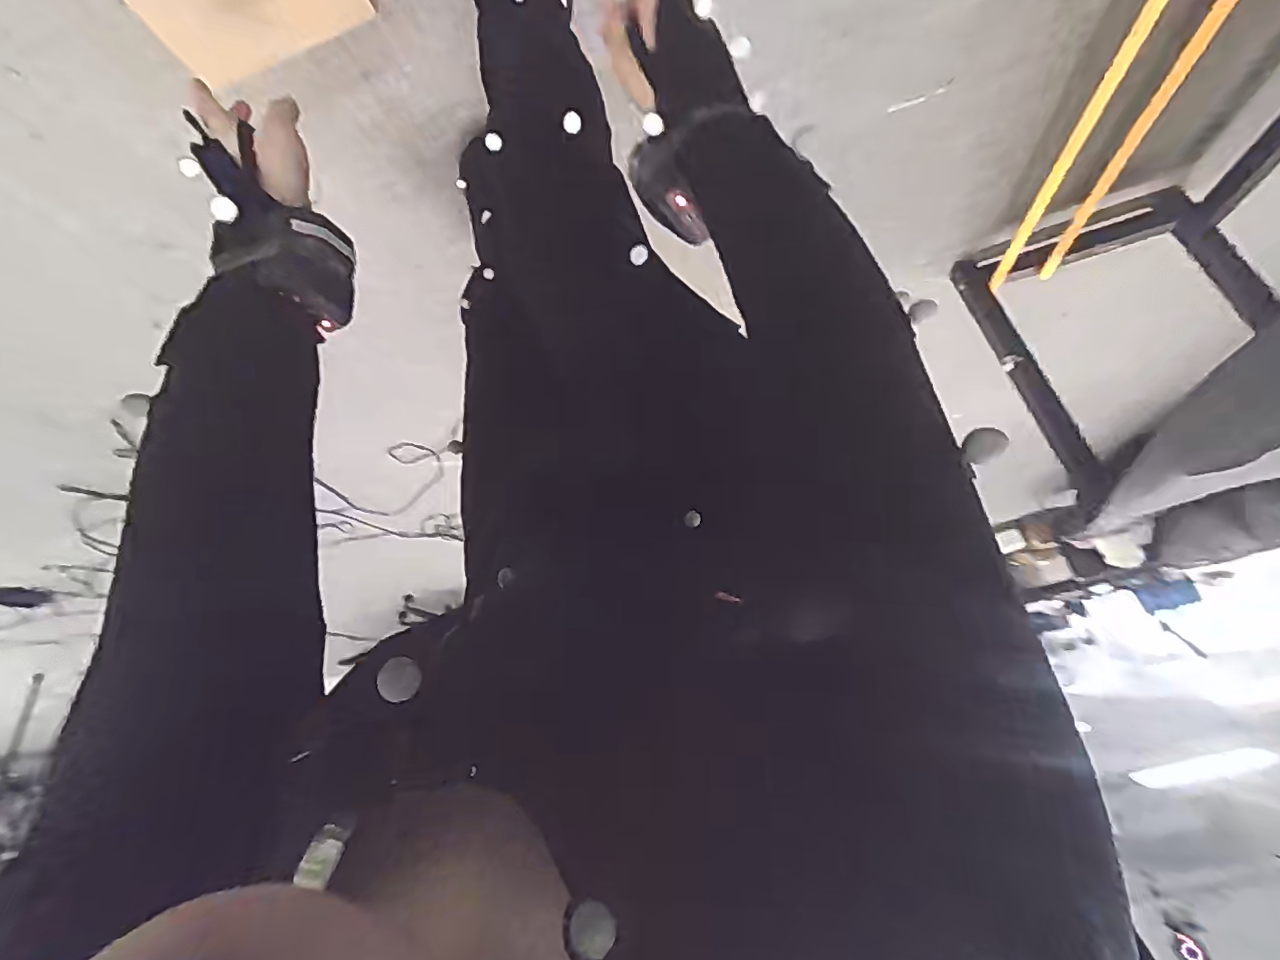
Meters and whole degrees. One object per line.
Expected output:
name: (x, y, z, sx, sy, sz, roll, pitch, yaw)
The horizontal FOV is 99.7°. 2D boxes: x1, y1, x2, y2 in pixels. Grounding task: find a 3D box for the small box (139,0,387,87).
small box: (-0.322, -0.463, 0.410, 0.168, 0.176, 0.179, -16, 158, 10)
